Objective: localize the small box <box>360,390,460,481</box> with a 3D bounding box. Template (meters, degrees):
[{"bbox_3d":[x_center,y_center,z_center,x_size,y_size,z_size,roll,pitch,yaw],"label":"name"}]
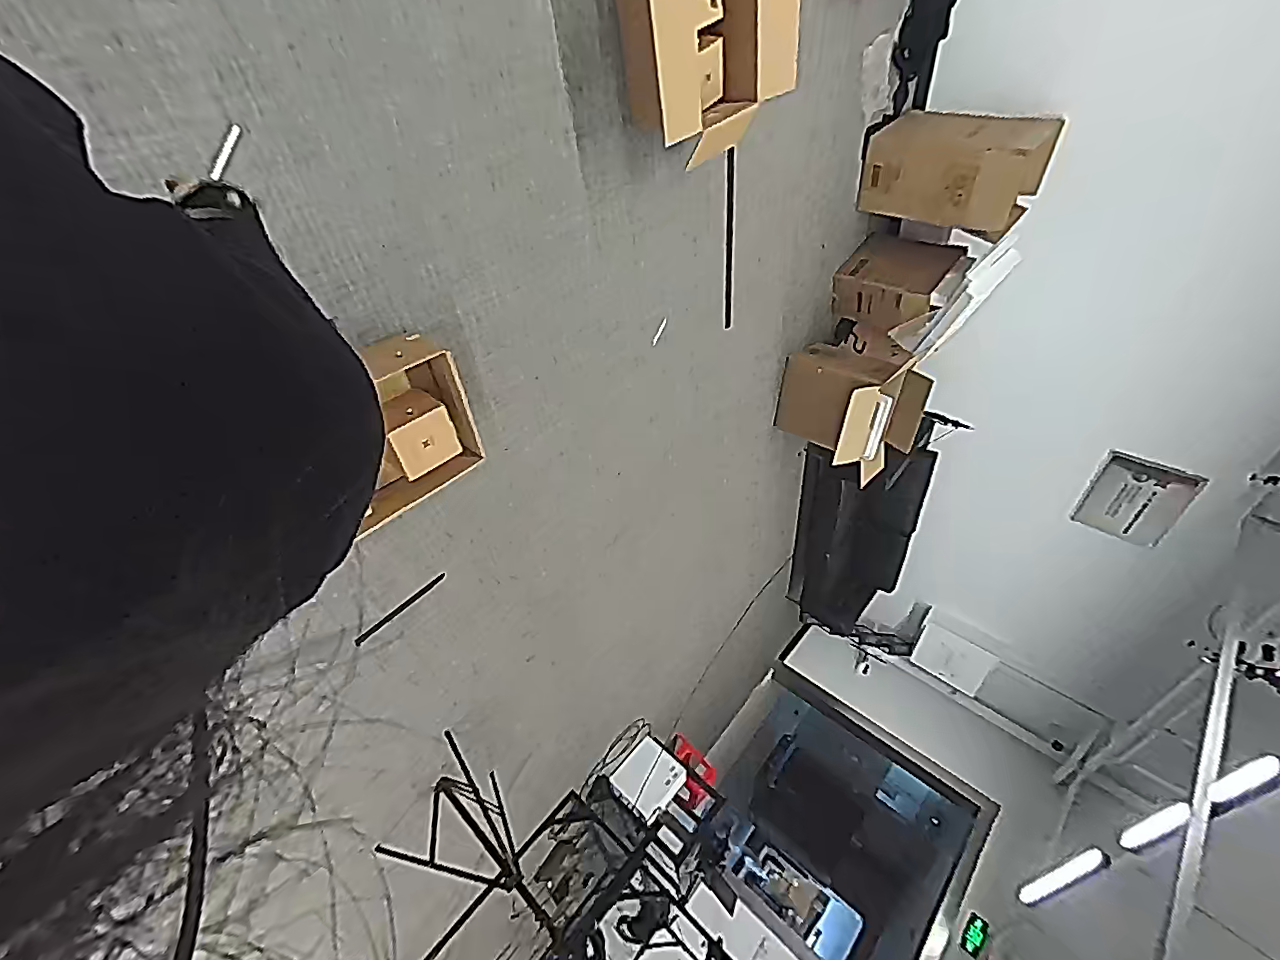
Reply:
[{"bbox_3d":[-0.652,-0.134,1.536,0.179,0.176,0.168,-37,138,-30],"label":"small box"}]
